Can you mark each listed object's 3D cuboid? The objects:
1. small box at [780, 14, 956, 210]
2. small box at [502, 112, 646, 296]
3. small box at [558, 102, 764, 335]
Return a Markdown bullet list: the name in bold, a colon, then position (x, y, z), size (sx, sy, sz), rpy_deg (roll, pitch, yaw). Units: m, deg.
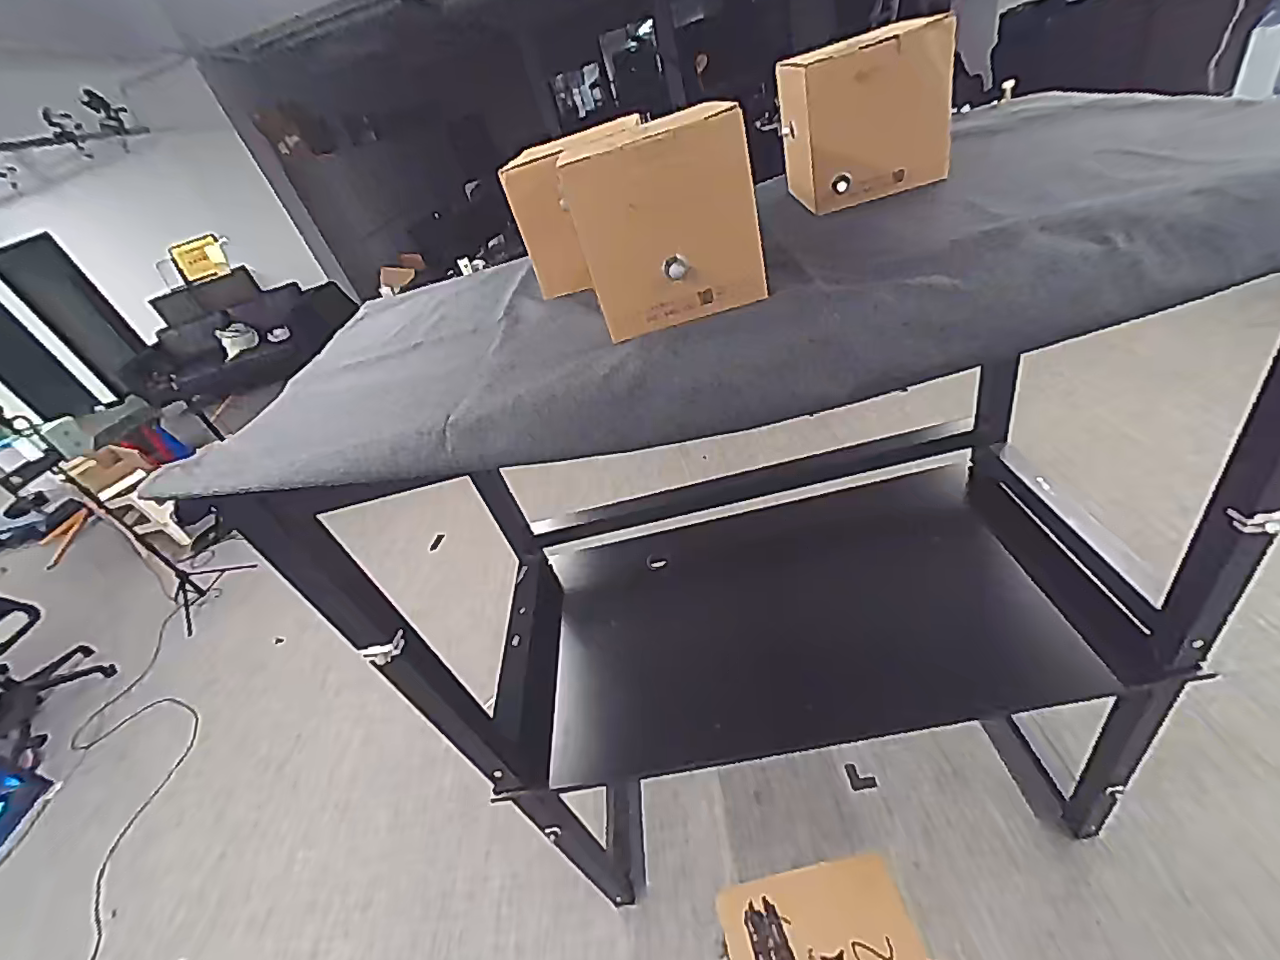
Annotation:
- **small box**: position (0.291, -0.475, 0.714), size (0.168, 0.176, 0.179), rpy_deg (-12, 36, 10)
- **small box**: position (-0.061, -0.378, 0.748), size (0.179, 0.176, 0.168), rpy_deg (-11, 37, 12)
- **small box**: position (0.024, -0.274, 0.570), size (0.168, 0.176, 0.179), rpy_deg (-15, 36, 6)
